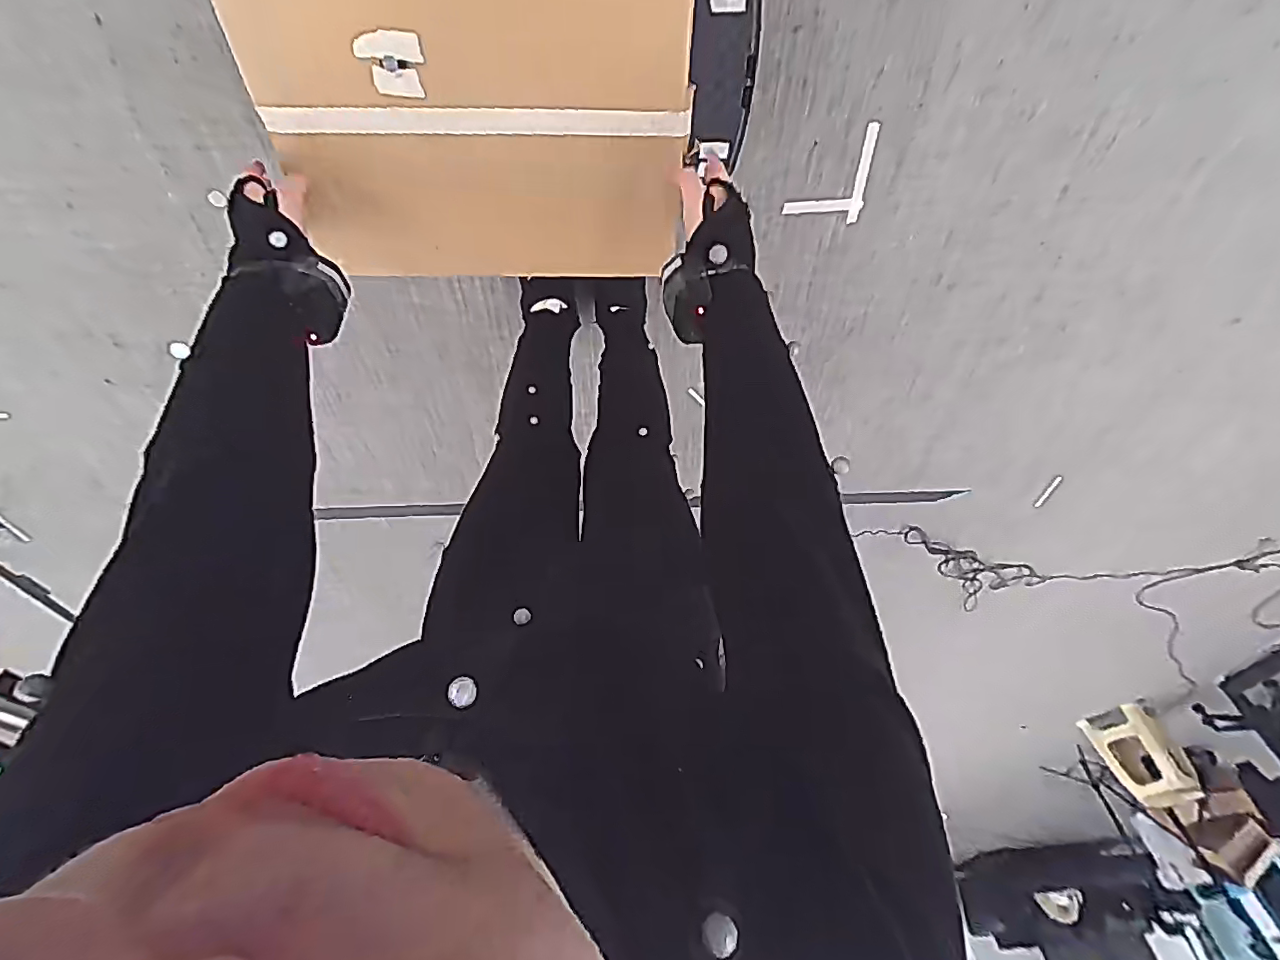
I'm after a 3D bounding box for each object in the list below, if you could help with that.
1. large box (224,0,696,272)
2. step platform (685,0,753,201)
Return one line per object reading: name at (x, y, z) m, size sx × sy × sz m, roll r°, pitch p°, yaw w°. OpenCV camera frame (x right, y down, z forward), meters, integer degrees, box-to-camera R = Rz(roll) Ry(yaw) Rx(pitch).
large box at (-0.155, -0.455, 0.617) m, size 0.408 × 0.320 × 0.320 m, roll -1°, pitch 135°, yaw -3°
step platform at (-0.186, -0.612, 0.795) m, size 0.684 × 0.204 × 0.286 m, roll 3°, pitch 135°, yaw -6°
